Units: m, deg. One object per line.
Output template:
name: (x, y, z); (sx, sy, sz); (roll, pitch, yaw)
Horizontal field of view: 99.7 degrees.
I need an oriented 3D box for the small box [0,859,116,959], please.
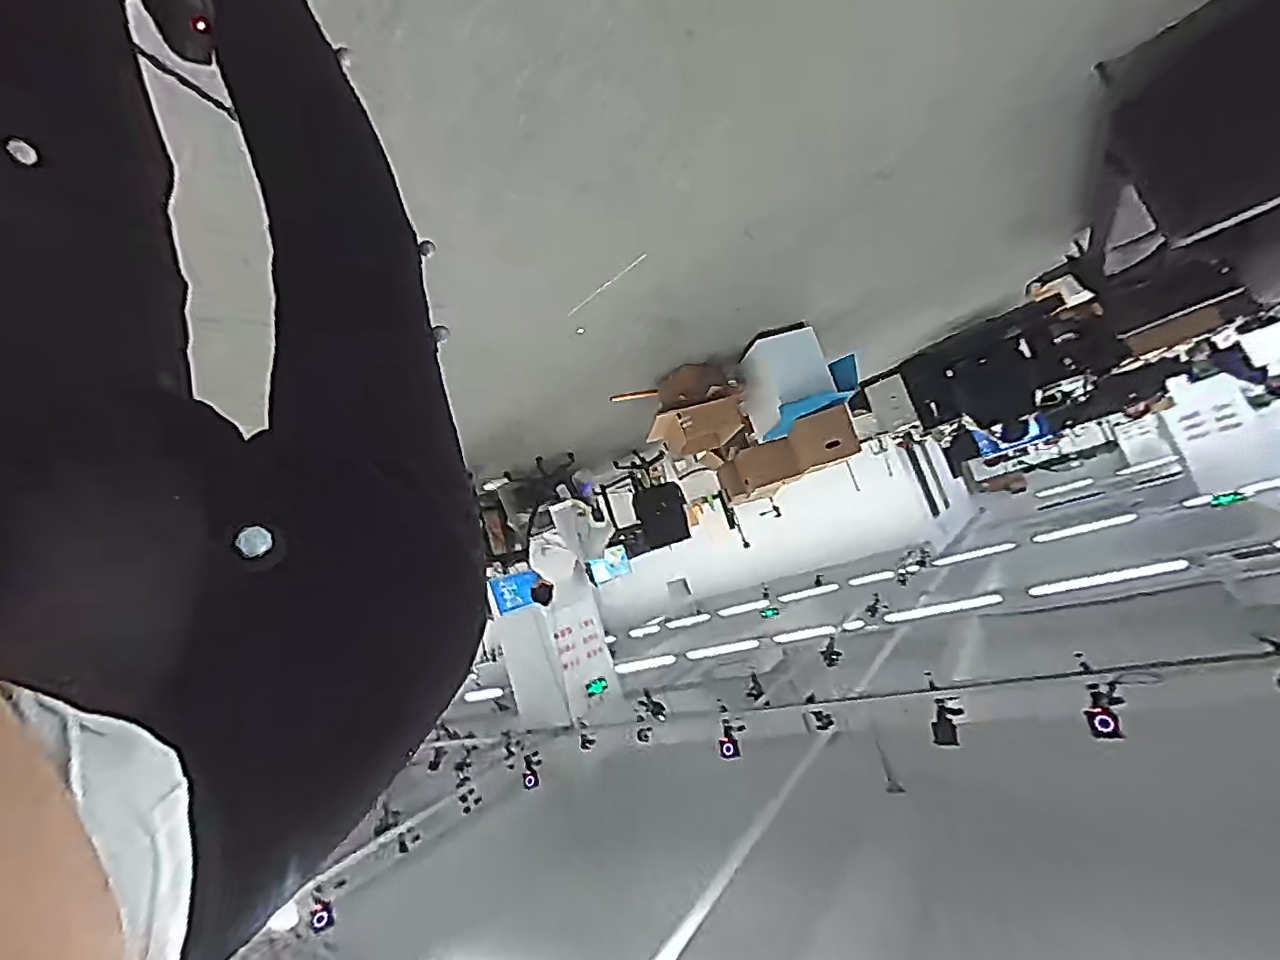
small box: (-1.524, 1.125, 1.416); (0.168, 0.176, 0.179); (-23, 169, 32)
